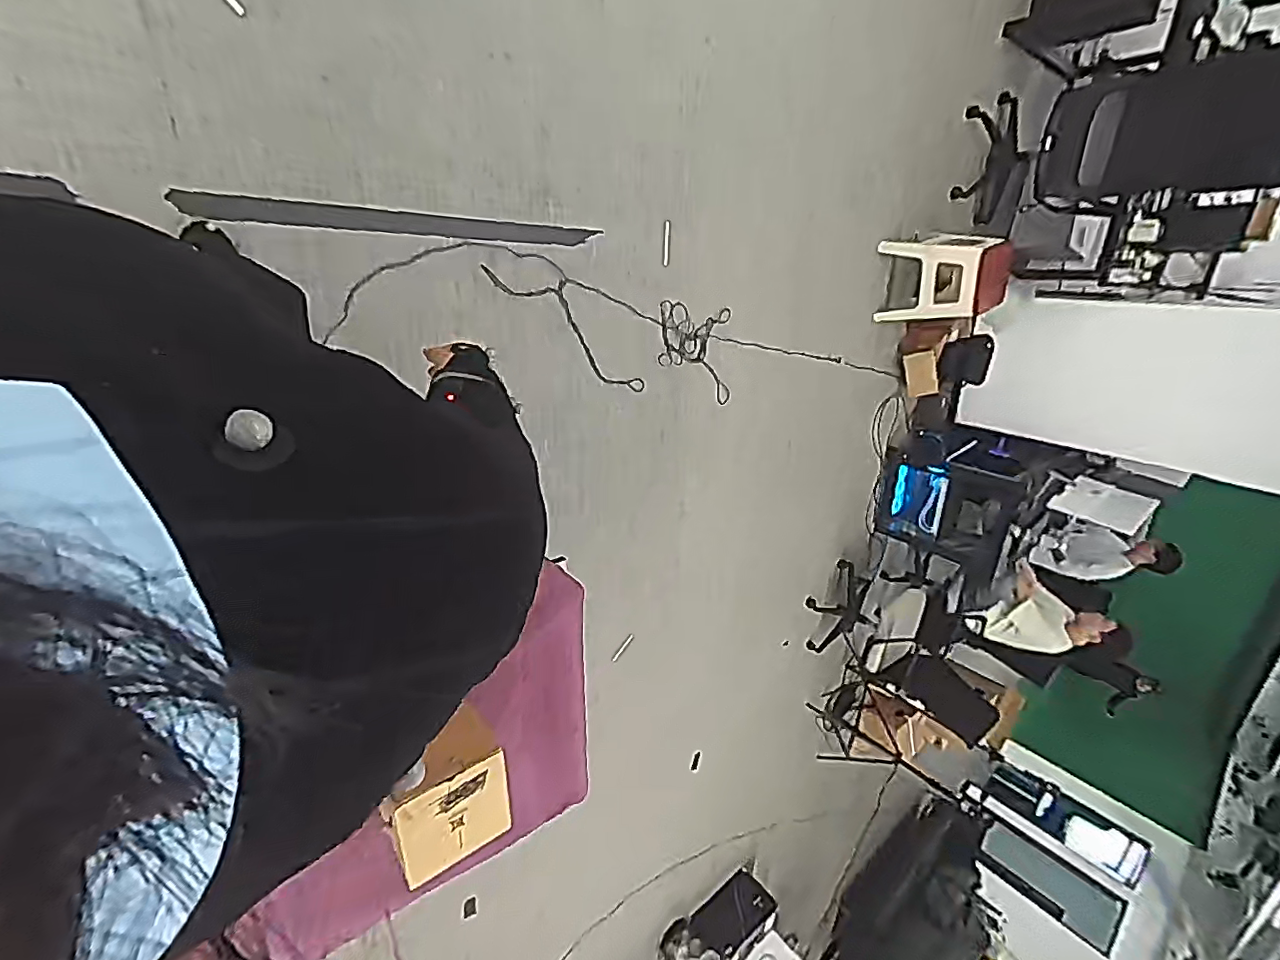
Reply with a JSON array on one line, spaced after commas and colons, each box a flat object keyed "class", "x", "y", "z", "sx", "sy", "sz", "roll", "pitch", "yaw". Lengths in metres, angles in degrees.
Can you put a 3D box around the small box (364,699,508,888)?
[{"class": "small box", "x": -0.331, "y": 0.488, "z": 0.878, "sx": 0.168, "sy": 0.176, "sz": 0.179, "roll": -15, "pitch": 117, "yaw": -36}]
